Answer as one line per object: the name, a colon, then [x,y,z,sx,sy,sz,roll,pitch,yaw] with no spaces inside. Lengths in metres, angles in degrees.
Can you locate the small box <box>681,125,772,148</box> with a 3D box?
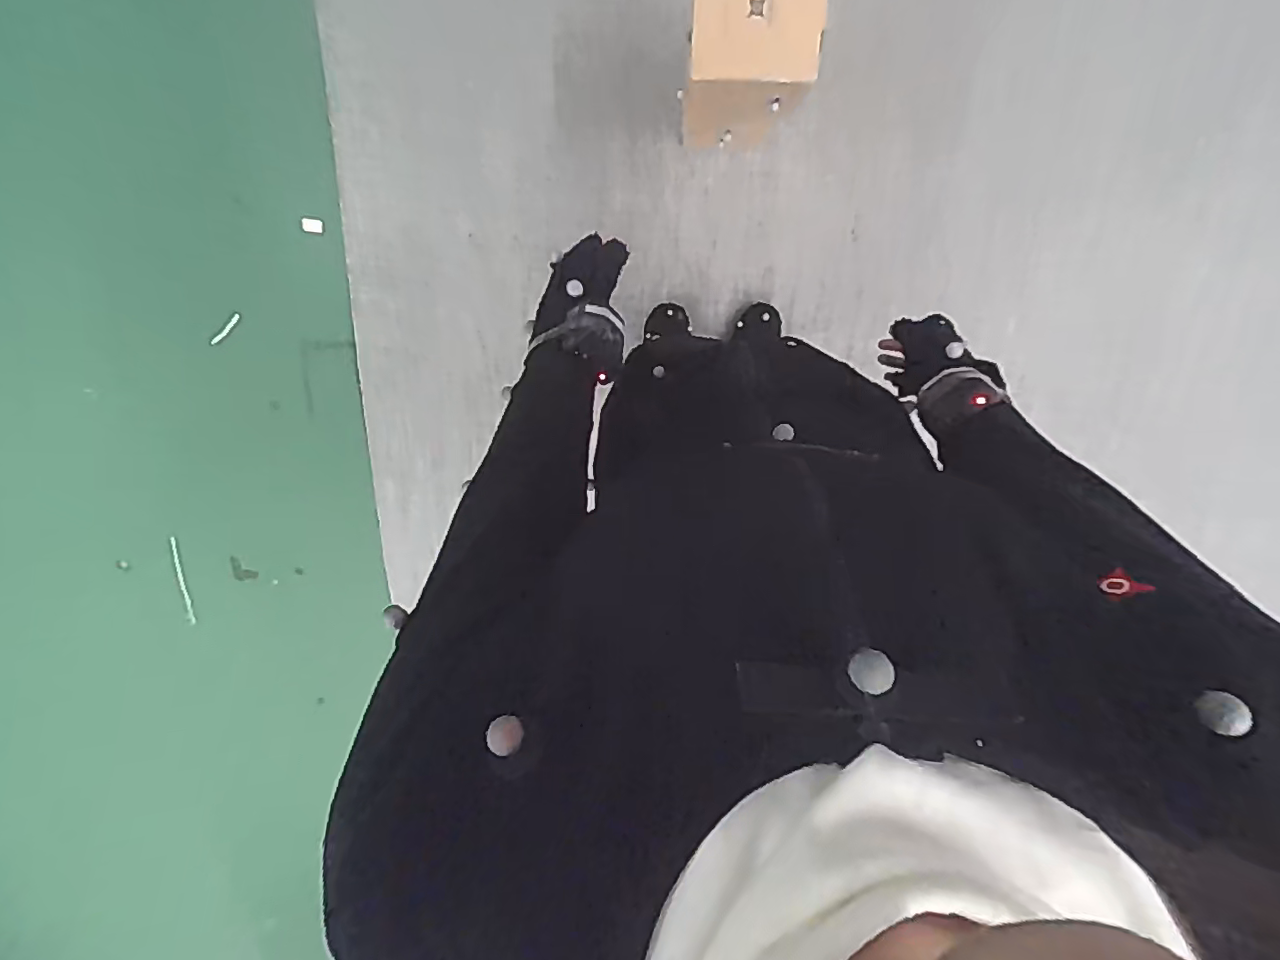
small box: [0.177,-0.780,1.085,0.179,0.176,0.168,4,111,4]

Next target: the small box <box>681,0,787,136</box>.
small box: [0.164,-0.712,0.940,0.179,0.176,0.168,3,112,4]

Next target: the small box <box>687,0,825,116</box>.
small box: [0.161,-0.650,0.787,0.179,0.176,0.168,3,110,4]
